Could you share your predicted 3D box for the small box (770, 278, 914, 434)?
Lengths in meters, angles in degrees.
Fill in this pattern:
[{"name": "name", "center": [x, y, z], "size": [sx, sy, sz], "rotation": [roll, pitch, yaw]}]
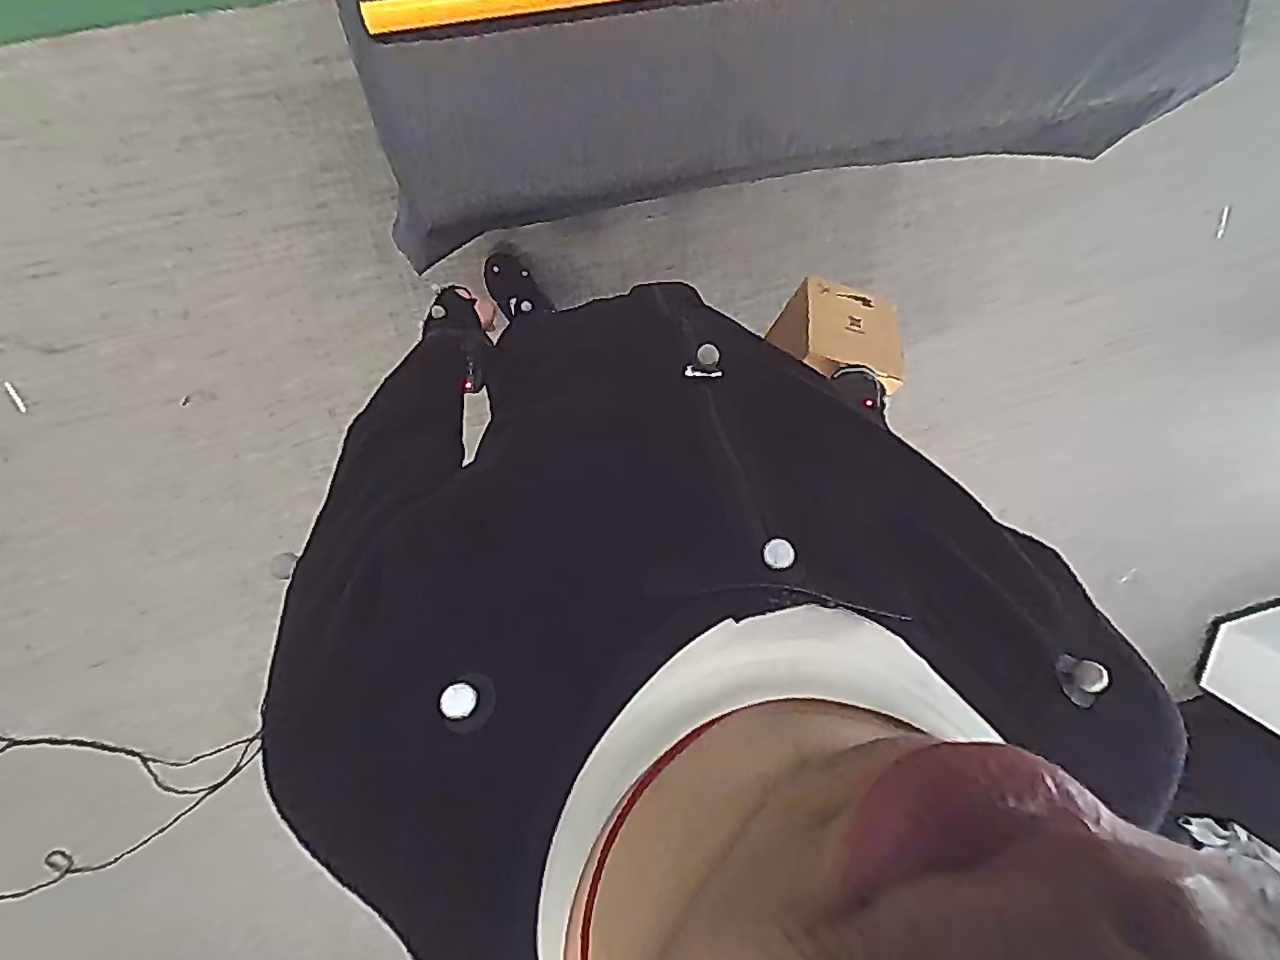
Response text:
[{"name": "small box", "center": [0.333, -0.203, 0.923], "size": [0.168, 0.179, 0.176], "rotation": [13, 151, -9]}]
